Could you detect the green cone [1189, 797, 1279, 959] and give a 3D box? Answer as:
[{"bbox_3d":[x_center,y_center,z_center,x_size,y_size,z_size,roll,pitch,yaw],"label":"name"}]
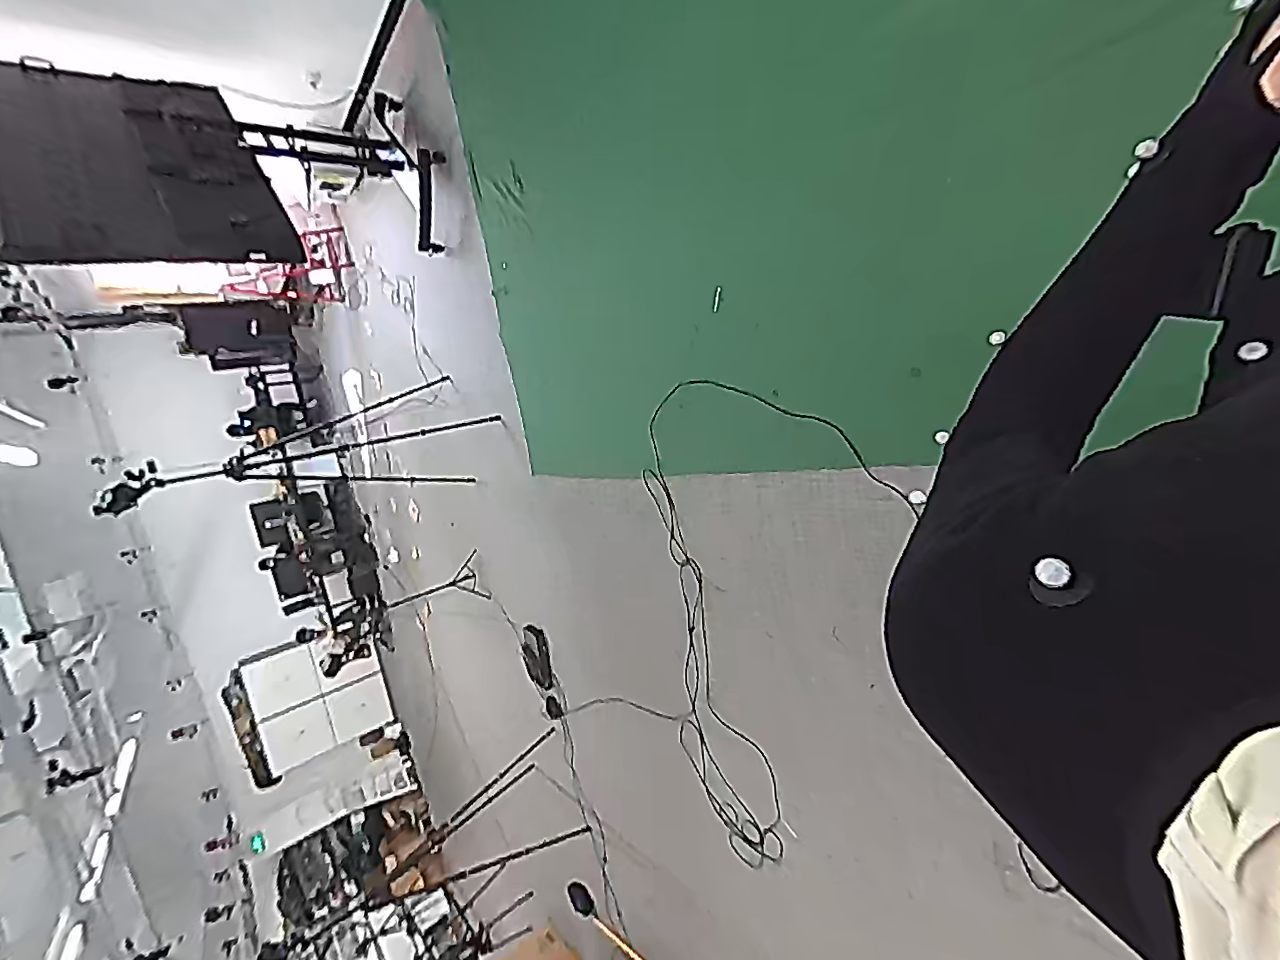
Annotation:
[{"bbox_3d":[1.303,0.905,1.162,0.202,0.368,0.200,-1,102,51],"label":"green cone"}]
